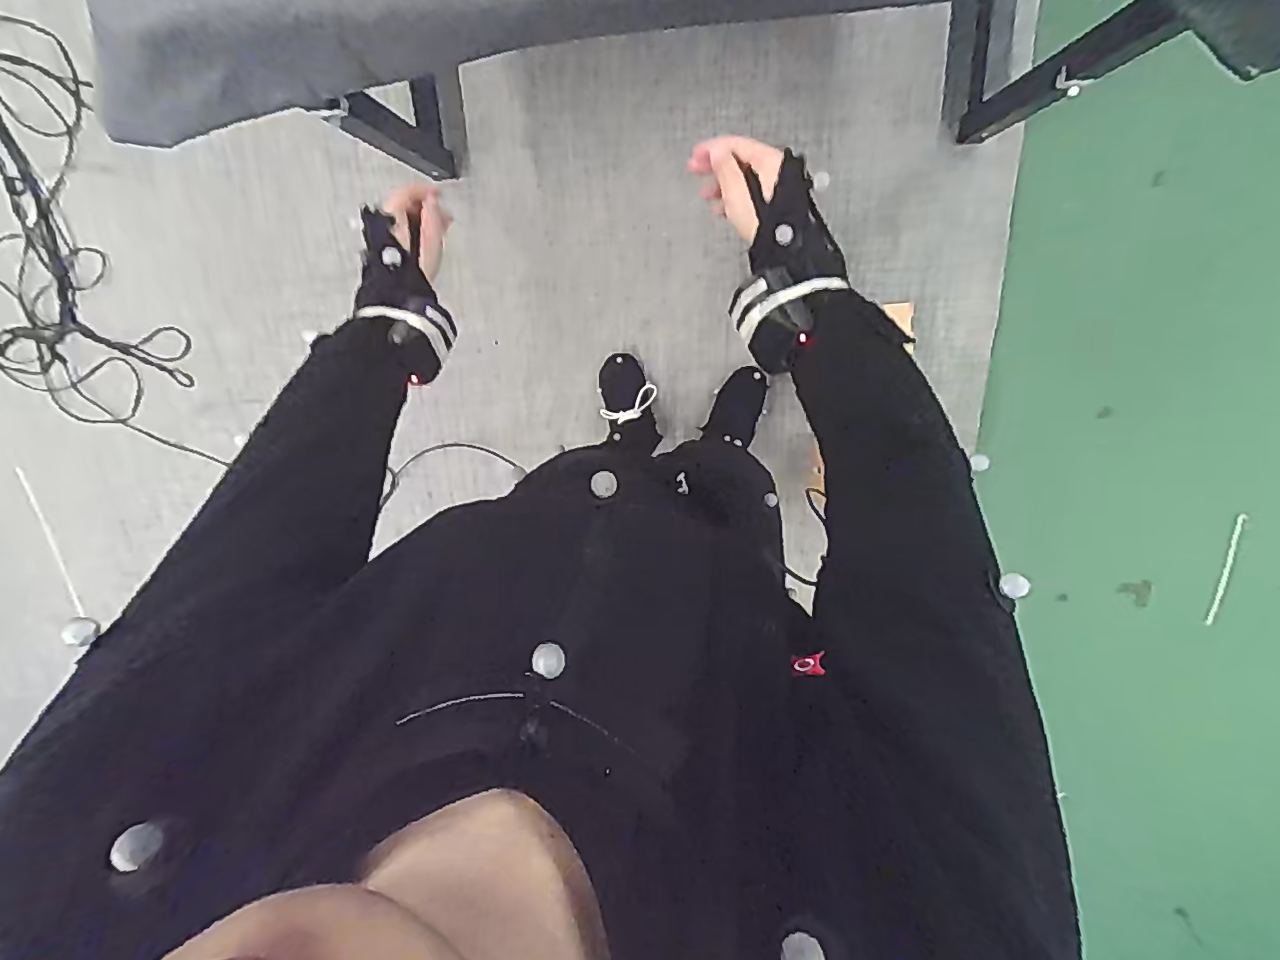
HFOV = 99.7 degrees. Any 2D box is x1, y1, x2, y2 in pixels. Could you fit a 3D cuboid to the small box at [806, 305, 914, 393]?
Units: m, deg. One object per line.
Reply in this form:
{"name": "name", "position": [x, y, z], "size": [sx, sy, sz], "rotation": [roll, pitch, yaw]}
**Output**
{"name": "small box", "position": [0.472, -0.290, 1.181], "size": [0.179, 0.176, 0.168], "rotation": [-5, 106, 6]}

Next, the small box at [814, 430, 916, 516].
{"name": "small box", "position": [0.514, -0.019, 1.261], "size": [0.179, 0.176, 0.168], "rotation": [-1, 108, 5]}
